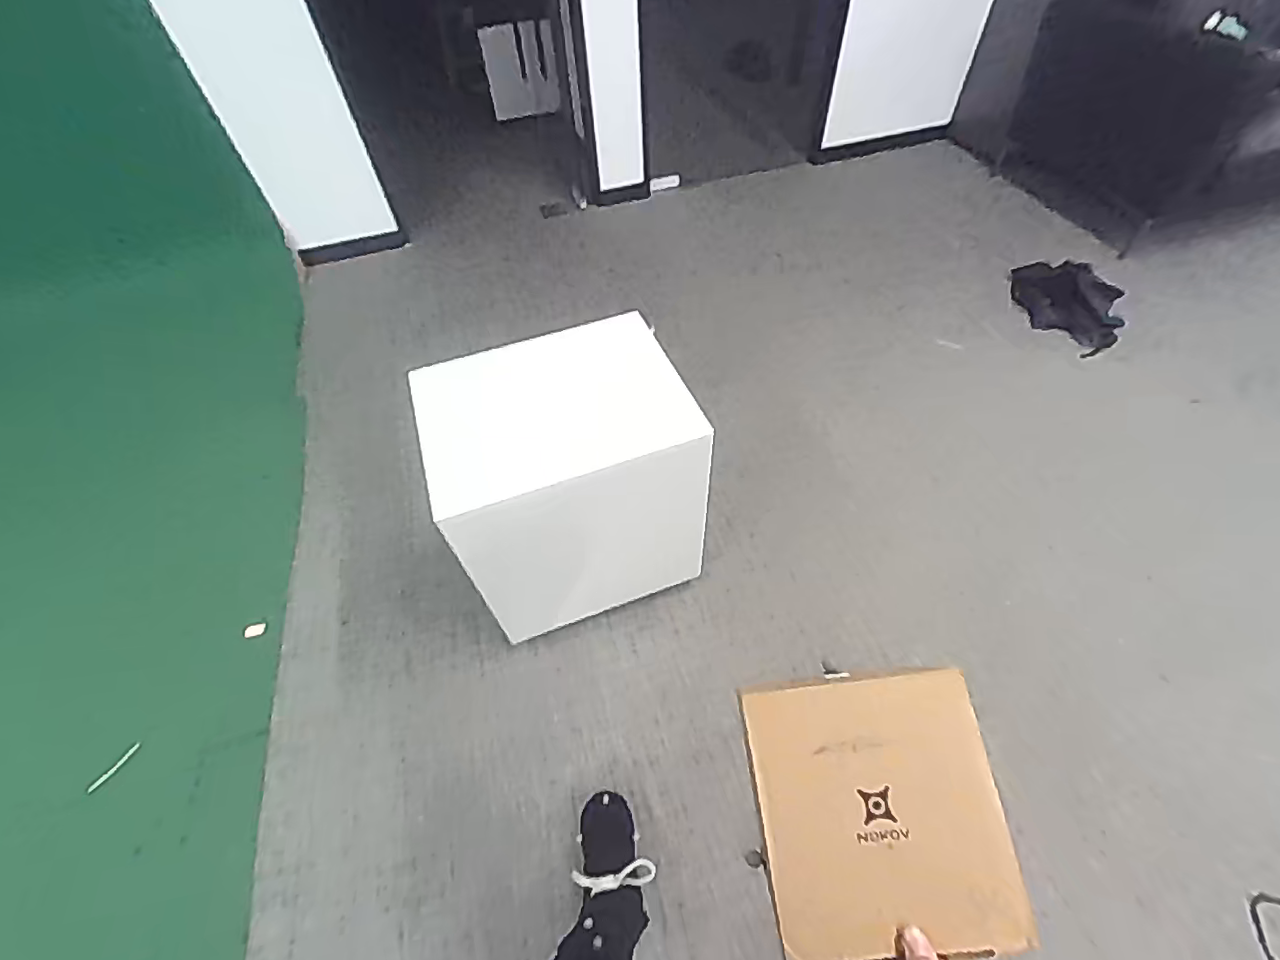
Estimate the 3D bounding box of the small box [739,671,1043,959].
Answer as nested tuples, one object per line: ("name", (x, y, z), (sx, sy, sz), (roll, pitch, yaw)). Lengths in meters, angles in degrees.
("small box", (0.180, 0.260, 0.454), (0.168, 0.176, 0.179), (-9, 69, 4))
